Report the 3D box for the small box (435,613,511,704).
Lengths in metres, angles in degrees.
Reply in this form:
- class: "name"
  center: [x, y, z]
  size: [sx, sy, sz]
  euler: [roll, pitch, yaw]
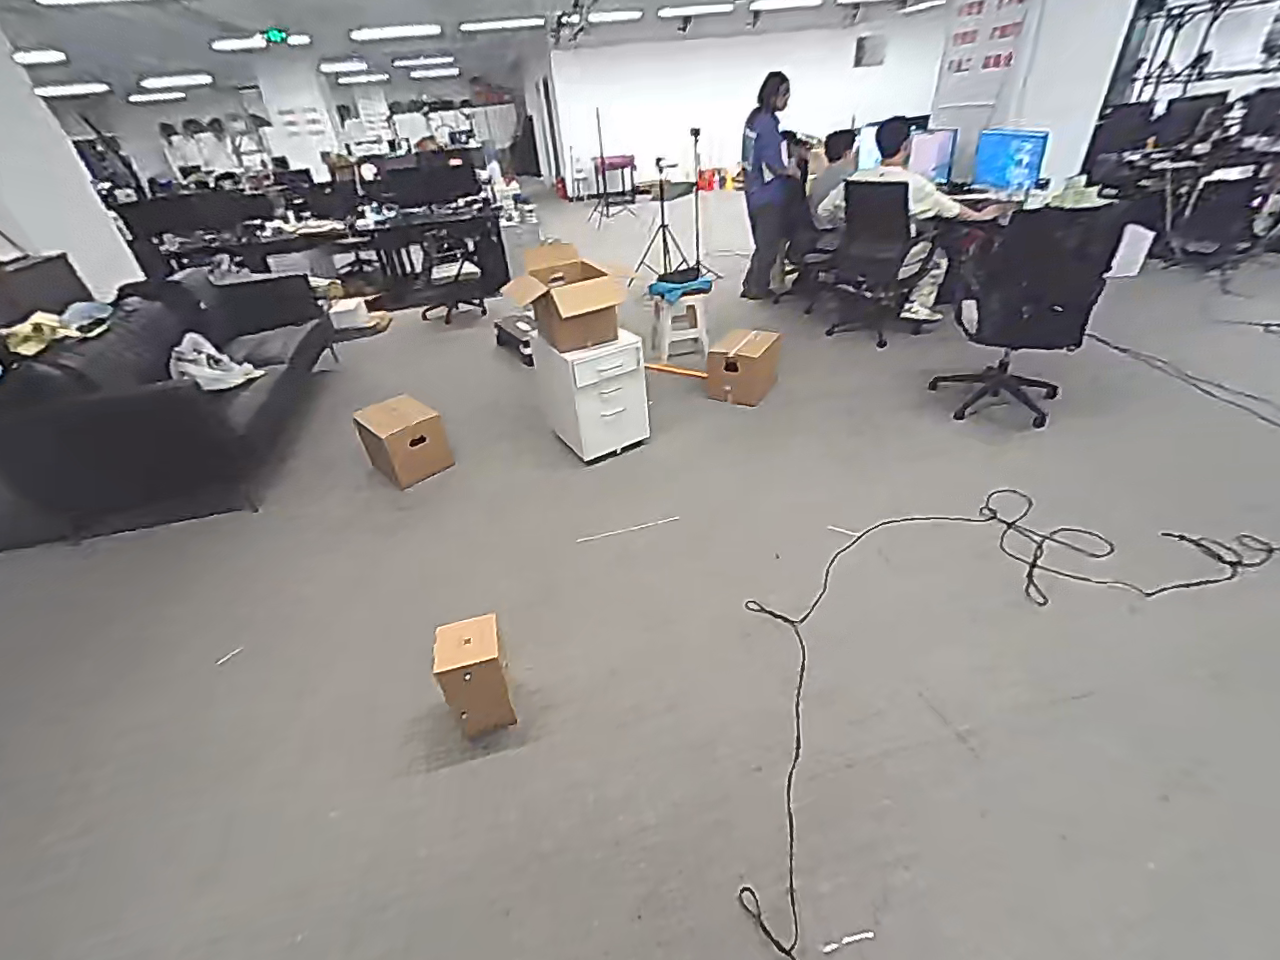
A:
- class: "small box"
  center: [-0.484, 0.524, 1.579]
  size: [0.179, 0.176, 0.168]
  euler: [-12, 36, -10]
